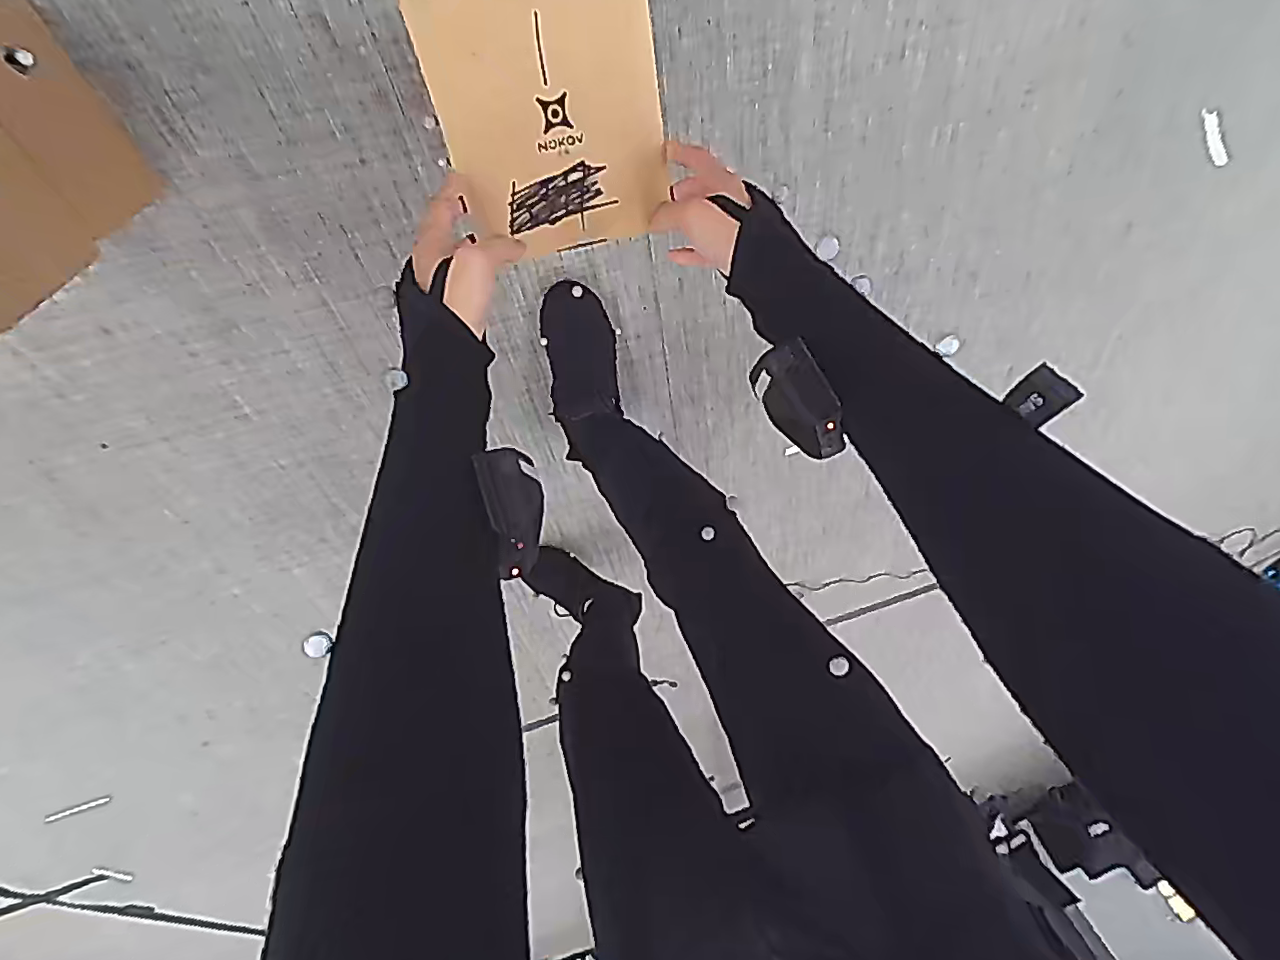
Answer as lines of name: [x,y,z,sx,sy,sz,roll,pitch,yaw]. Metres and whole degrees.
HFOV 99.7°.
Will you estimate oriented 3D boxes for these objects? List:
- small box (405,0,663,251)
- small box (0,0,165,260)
small box: [-0.087,-0.330,0.469,0.168,0.176,0.179,-17,134,-7]
small box: [-0.614,-0.323,0.504,0.168,0.176,0.179,-18,134,-3]
